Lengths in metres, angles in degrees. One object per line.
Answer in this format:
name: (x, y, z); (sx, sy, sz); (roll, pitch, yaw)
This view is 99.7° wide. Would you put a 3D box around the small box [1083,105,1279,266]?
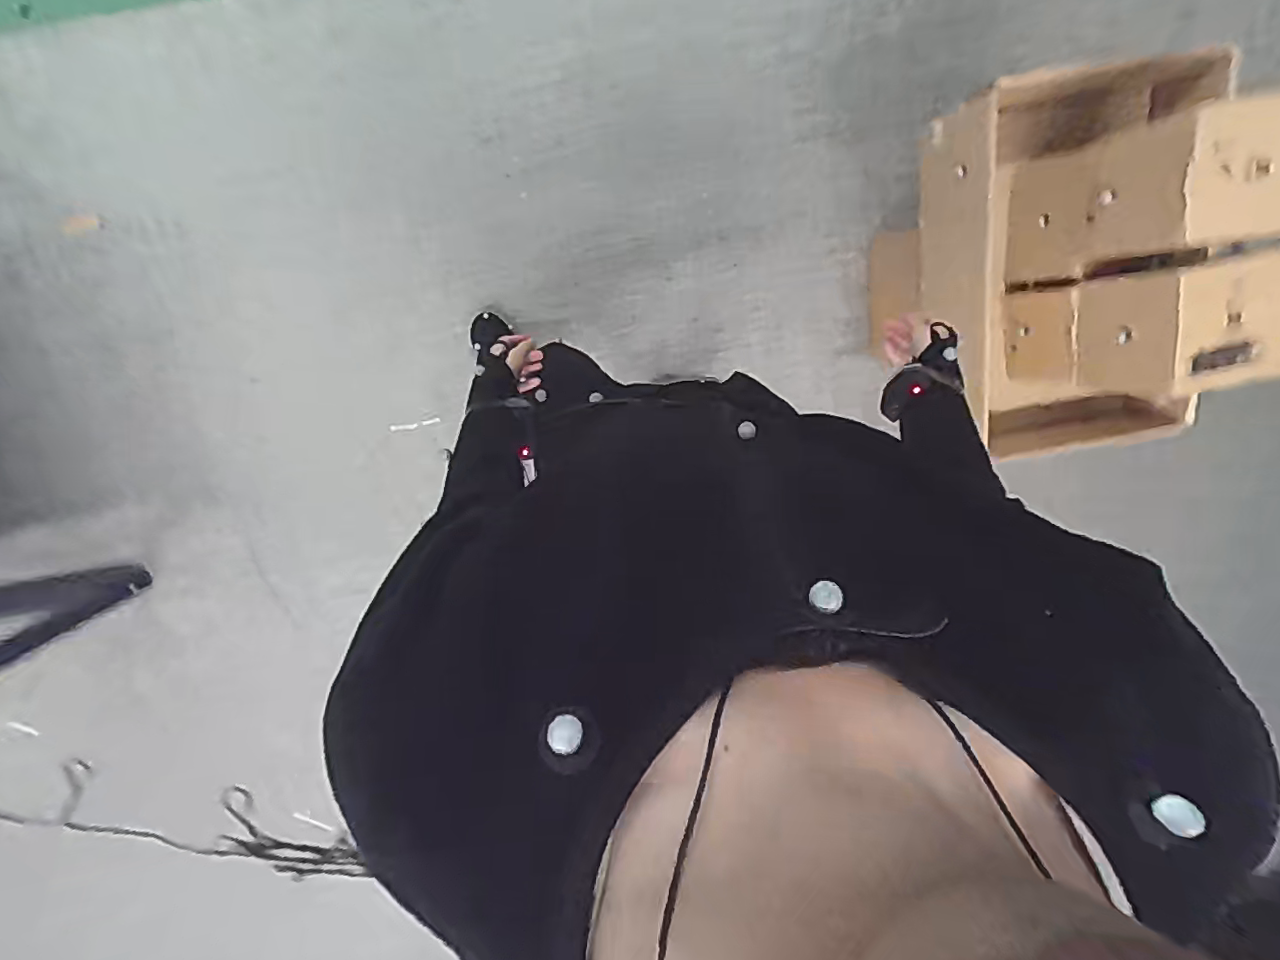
small box: (0.788, -0.407, 0.767); (0.179, 0.176, 0.168); (-8, 105, -1)
